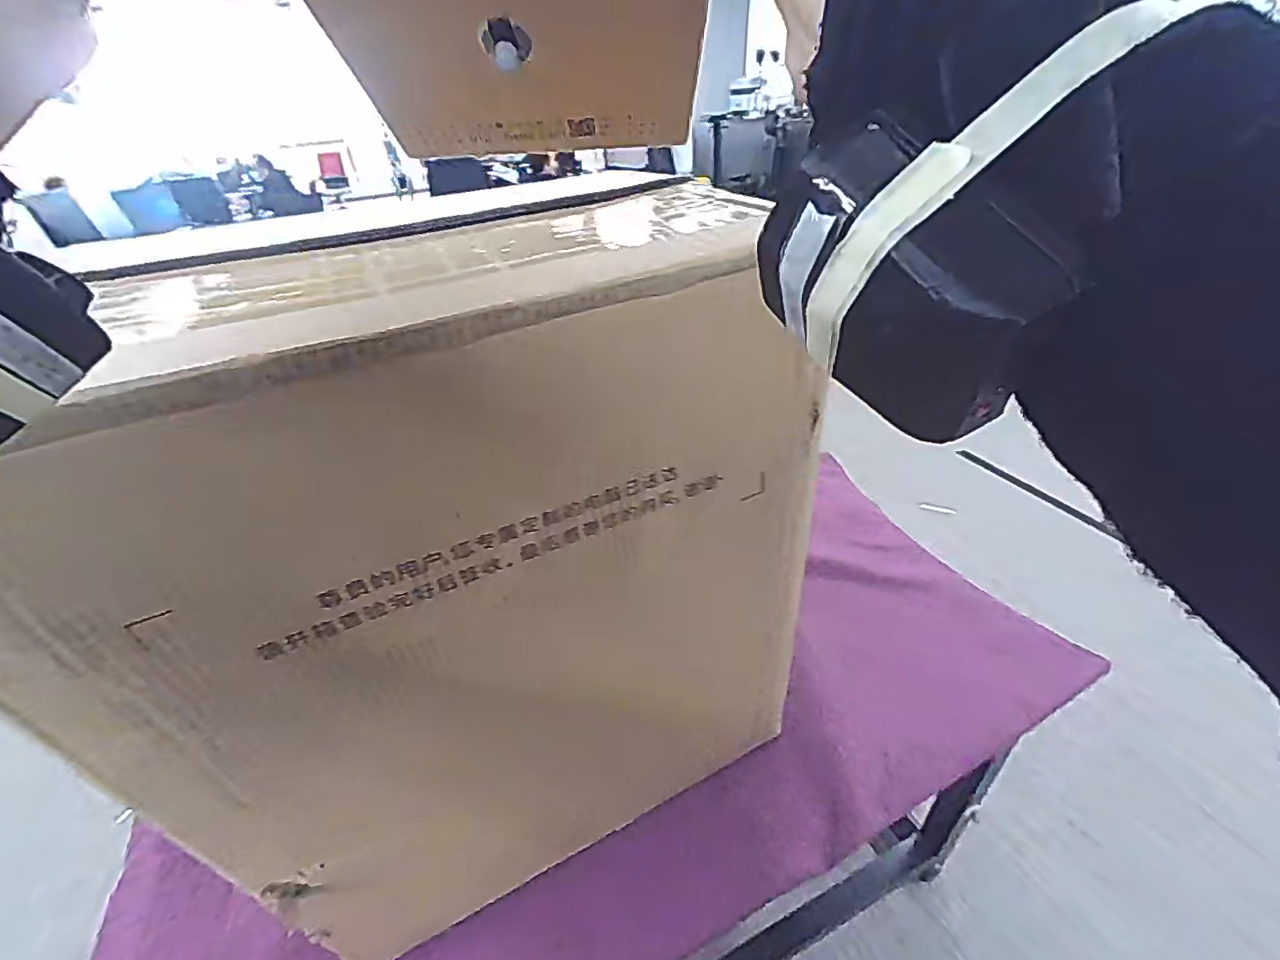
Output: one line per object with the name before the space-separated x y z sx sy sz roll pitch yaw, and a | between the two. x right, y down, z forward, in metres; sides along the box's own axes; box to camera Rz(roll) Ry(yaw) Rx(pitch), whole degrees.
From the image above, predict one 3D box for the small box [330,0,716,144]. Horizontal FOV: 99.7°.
small box | -0.050 -0.279 0.240 0.168 0.179 0.176 -3 -2 -1
